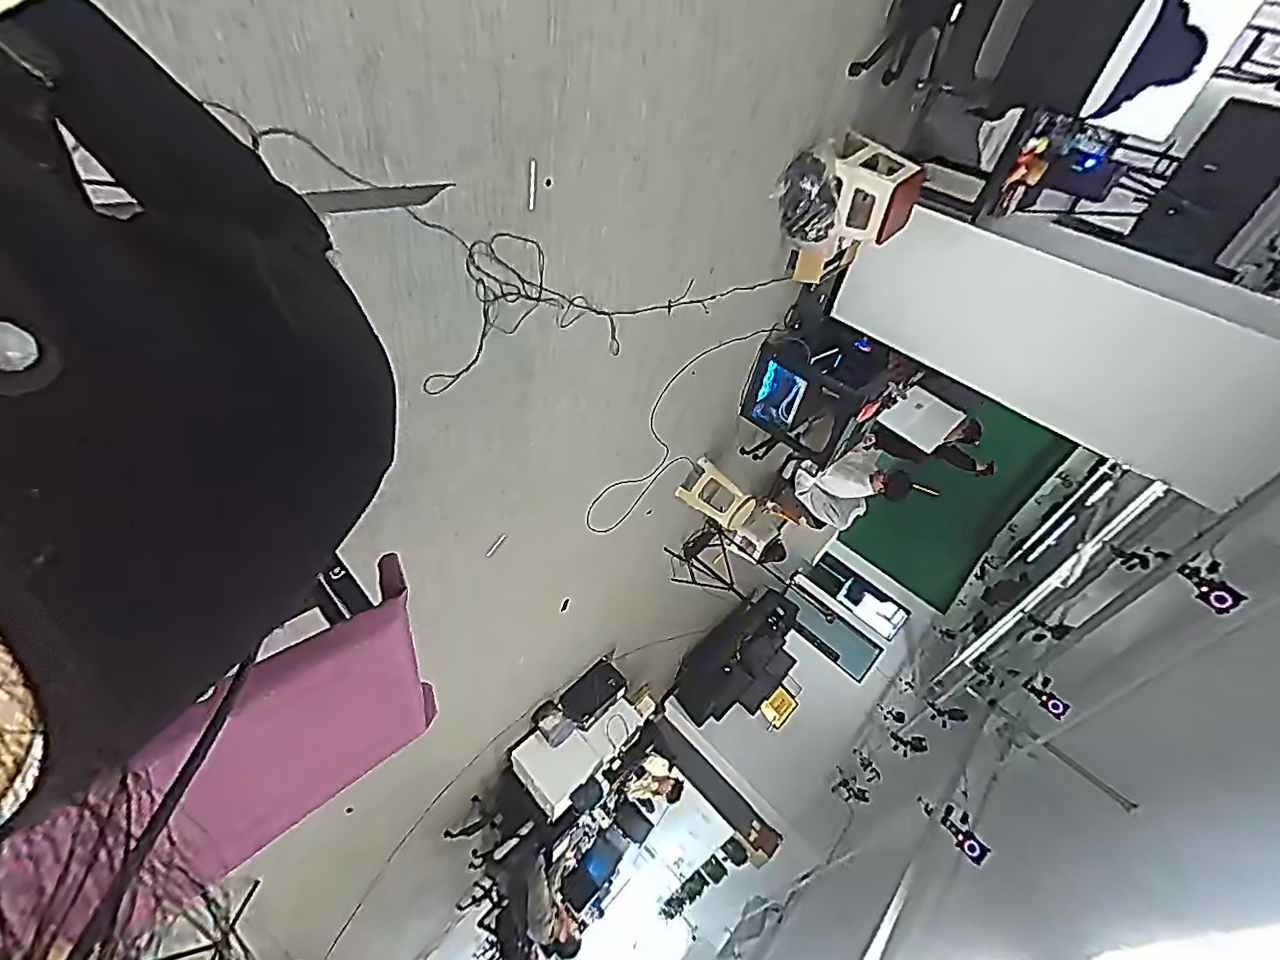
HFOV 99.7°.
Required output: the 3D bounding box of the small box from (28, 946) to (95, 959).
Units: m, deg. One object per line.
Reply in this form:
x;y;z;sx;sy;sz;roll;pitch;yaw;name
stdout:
-1.114;1.005;0.984;0.168;0.176;0.179;-31;146;-38;small box
